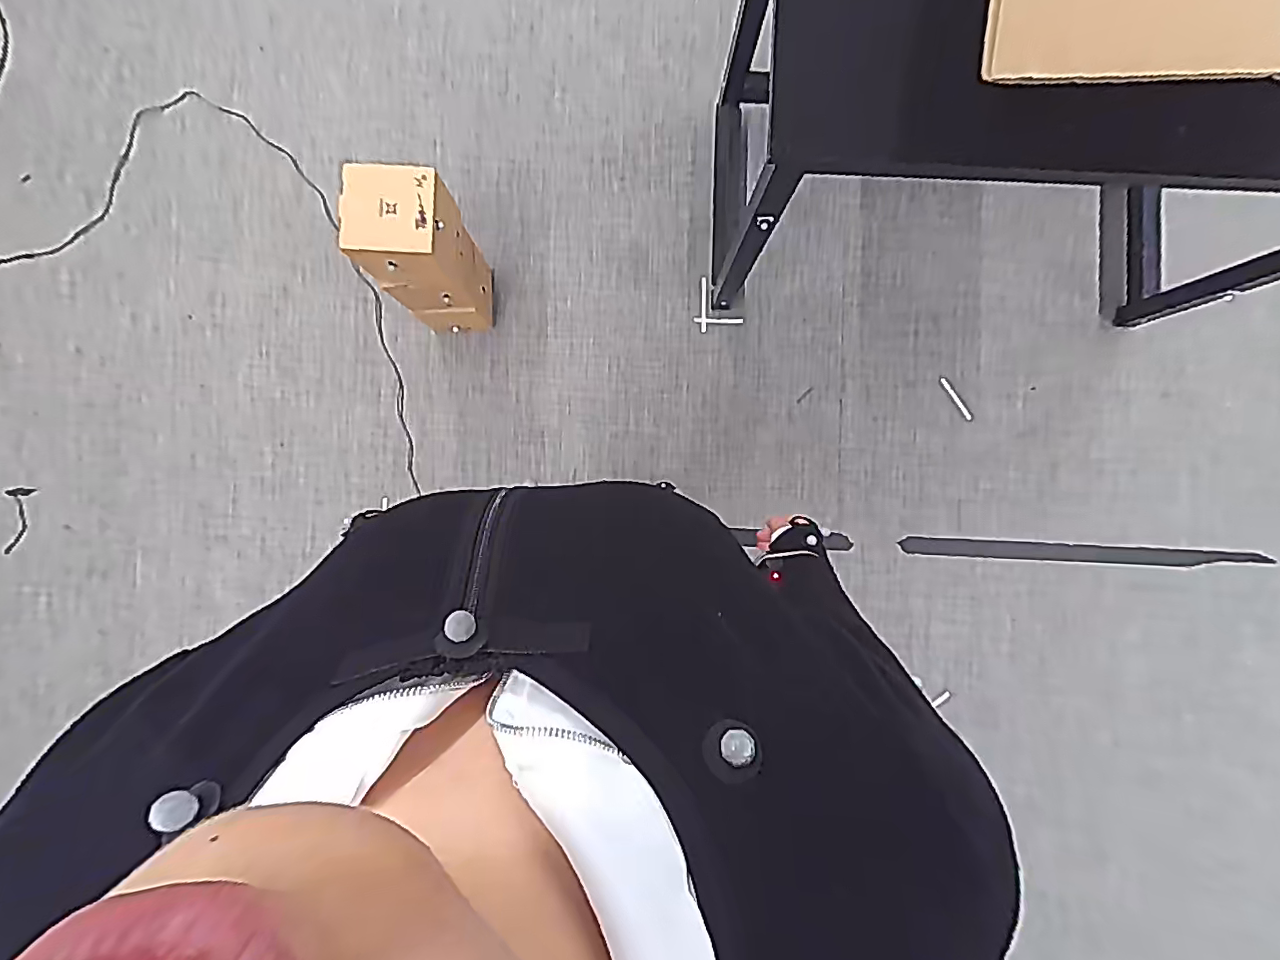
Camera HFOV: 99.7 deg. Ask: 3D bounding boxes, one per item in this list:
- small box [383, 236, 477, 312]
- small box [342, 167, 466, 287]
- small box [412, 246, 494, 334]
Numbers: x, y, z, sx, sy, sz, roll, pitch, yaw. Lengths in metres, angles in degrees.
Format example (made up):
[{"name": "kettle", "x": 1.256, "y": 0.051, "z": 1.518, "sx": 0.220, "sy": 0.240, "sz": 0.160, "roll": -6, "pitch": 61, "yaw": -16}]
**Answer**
[{"name": "small box", "x": -0.489, "y": -0.504, "z": 1.265, "sx": 0.168, "sy": 0.176, "sz": 0.179, "roll": -5, "pitch": 88, "yaw": -2}, {"name": "small box", "x": -0.473, "y": -0.505, "z": 1.101, "sx": 0.179, "sy": 0.176, "sz": 0.168, "roll": 2, "pitch": 89, "yaw": 0}, {"name": "small box", "x": -0.488, "y": -0.495, "z": 1.426, "sx": 0.168, "sy": 0.176, "sz": 0.179, "roll": -1, "pitch": 90, "yaw": 0}]
